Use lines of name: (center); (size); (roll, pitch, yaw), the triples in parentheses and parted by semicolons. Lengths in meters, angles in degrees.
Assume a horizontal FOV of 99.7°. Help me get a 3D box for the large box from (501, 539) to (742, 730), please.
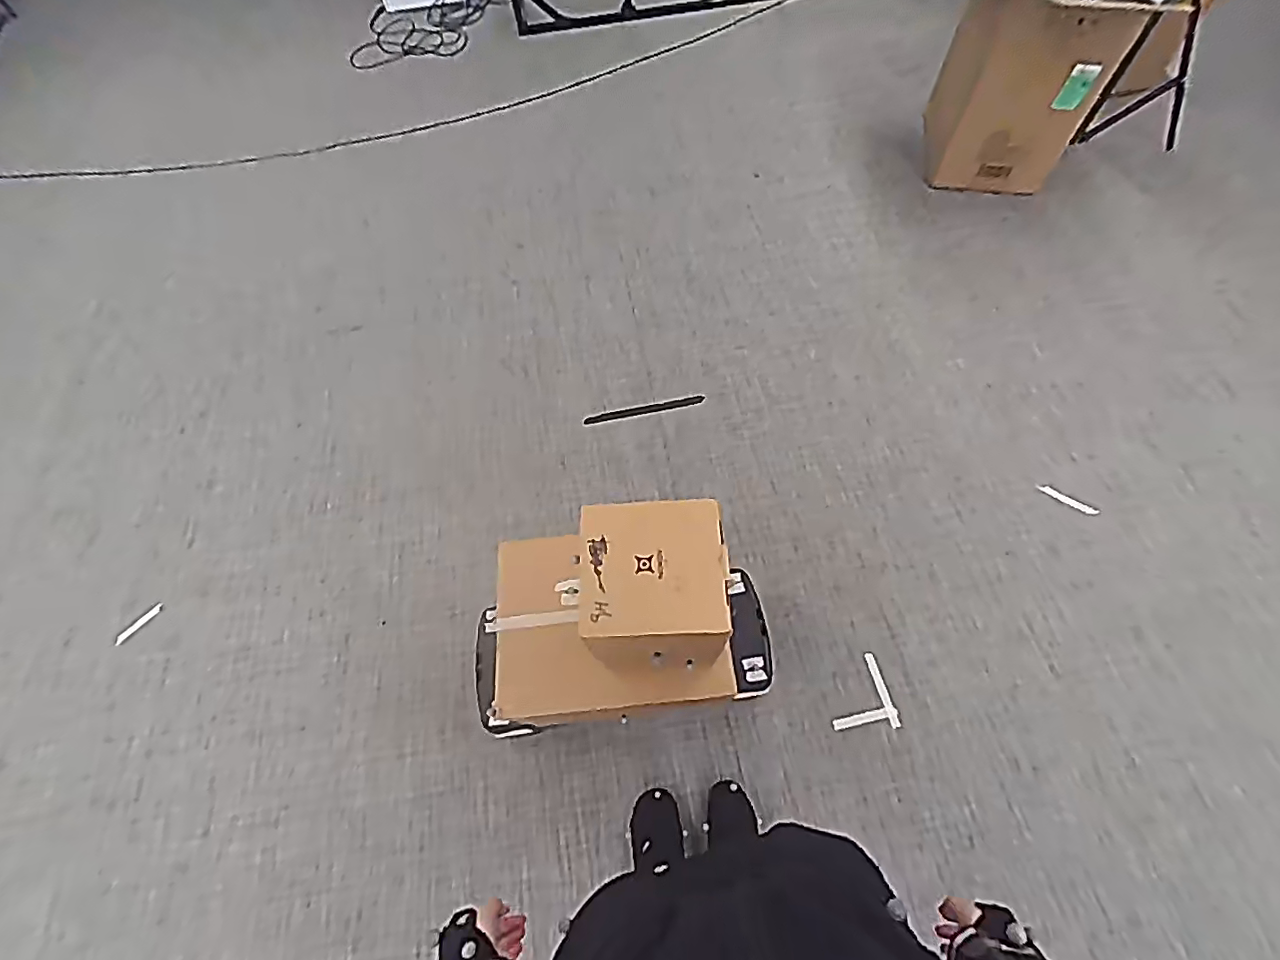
large box: (-0.034, 0.306, 1.079); (0.408, 0.320, 0.320); (-7, 62, 1)

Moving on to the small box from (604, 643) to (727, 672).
small box: (0.034, 0.203, 0.852); (0.179, 0.176, 0.168); (-4, 63, 2)

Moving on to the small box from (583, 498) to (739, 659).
small box: (0.024, 0.134, 0.704); (0.179, 0.176, 0.168); (-2, 62, 1)

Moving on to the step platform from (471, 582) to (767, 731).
step platform: (-0.047, 0.421, 1.289); (0.684, 0.204, 0.286); (-5, 63, 2)
